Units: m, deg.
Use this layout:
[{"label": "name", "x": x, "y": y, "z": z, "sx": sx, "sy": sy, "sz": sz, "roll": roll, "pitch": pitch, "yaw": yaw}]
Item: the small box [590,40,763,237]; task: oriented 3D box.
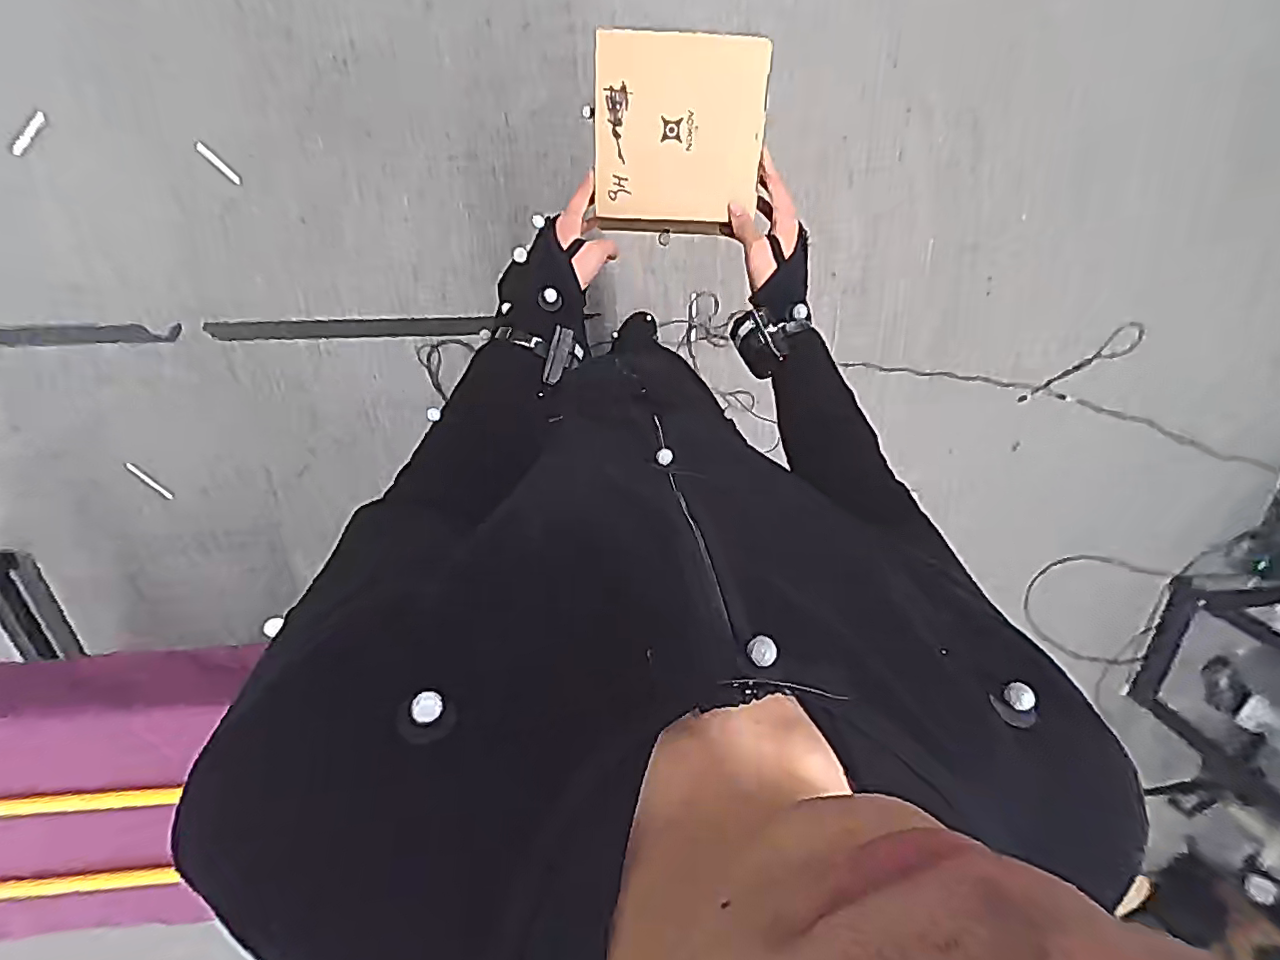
[{"label": "small box", "x": 0.030, "y": -0.384, "z": 0.641, "sx": 0.179, "sy": 0.176, "sz": 0.168, "roll": 1, "pitch": 111, "yaw": -4}]
